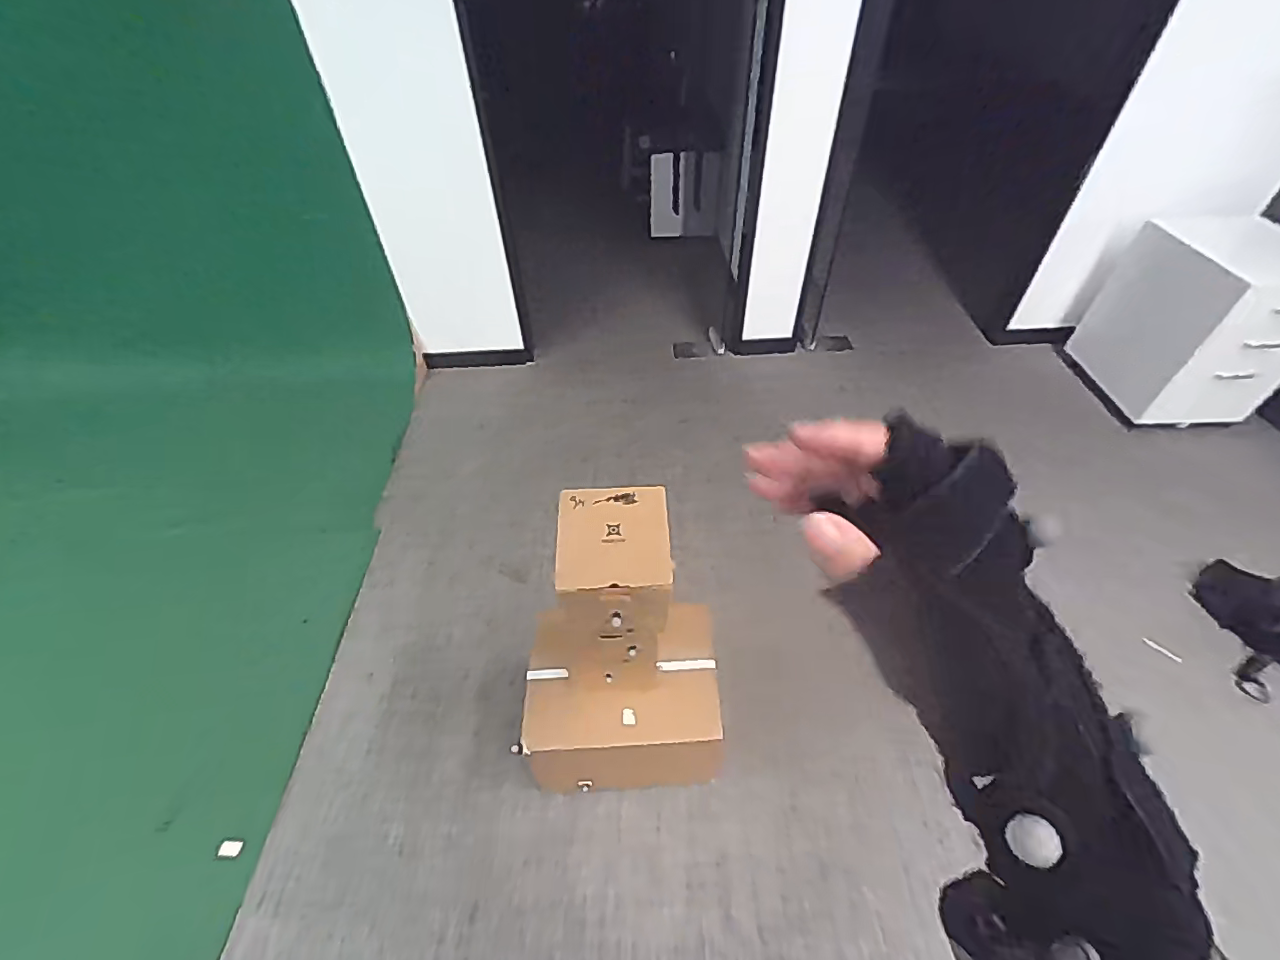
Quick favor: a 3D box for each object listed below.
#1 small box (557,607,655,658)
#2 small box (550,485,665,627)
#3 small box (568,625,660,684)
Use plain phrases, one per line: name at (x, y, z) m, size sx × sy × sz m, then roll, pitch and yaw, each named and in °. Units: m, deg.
small box at (-0.058, 0.220, 1.000) m, size 0.168 × 0.176 × 0.179 m, roll -2°, pitch 52°, yaw -2°
small box at (-0.045, 0.128, 0.865) m, size 0.168 × 0.176 × 0.179 m, roll -2°, pitch 54°, yaw -1°
small box at (-0.055, 0.318, 1.129) m, size 0.179 × 0.176 × 0.168 m, roll -4°, pitch 54°, yaw -2°
